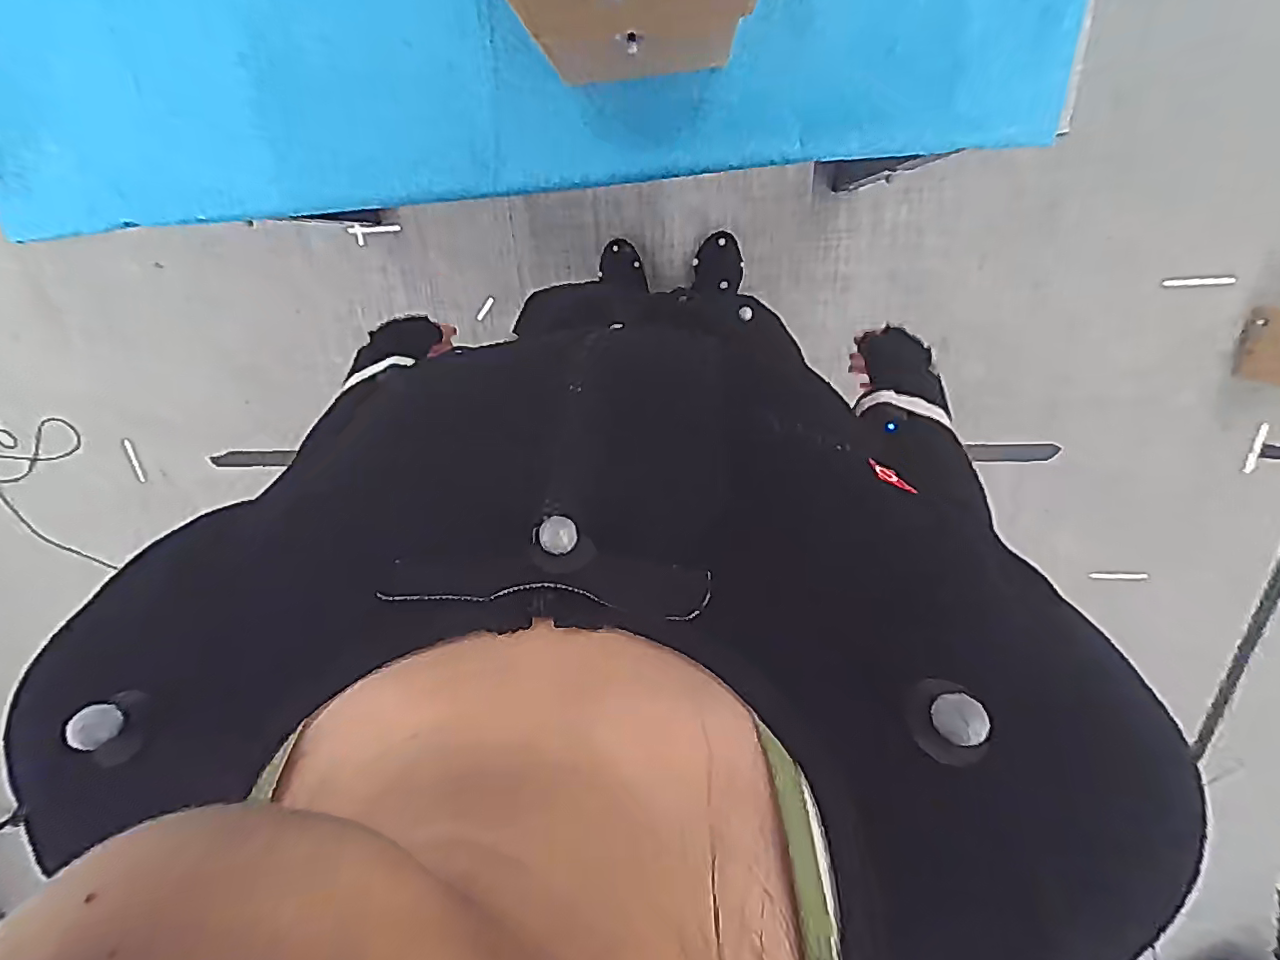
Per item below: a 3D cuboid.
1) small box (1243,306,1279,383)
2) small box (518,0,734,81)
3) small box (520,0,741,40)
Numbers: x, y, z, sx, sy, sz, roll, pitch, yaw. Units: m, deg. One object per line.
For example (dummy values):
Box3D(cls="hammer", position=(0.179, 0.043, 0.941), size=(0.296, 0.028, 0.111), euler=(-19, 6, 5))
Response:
Box3D(cls="small box", position=(1.520, -0.298, 1.193), size=(0.179, 0.176, 0.168), euler=(-2, 114, 5))
Box3D(cls="small box", position=(-0.006, -0.469, 0.466), size=(0.179, 0.176, 0.168), euler=(-2, 114, 6))
Box3D(cls="small box", position=(-0.011, -0.398, 0.320), size=(0.179, 0.176, 0.168), euler=(-5, 113, 7))
